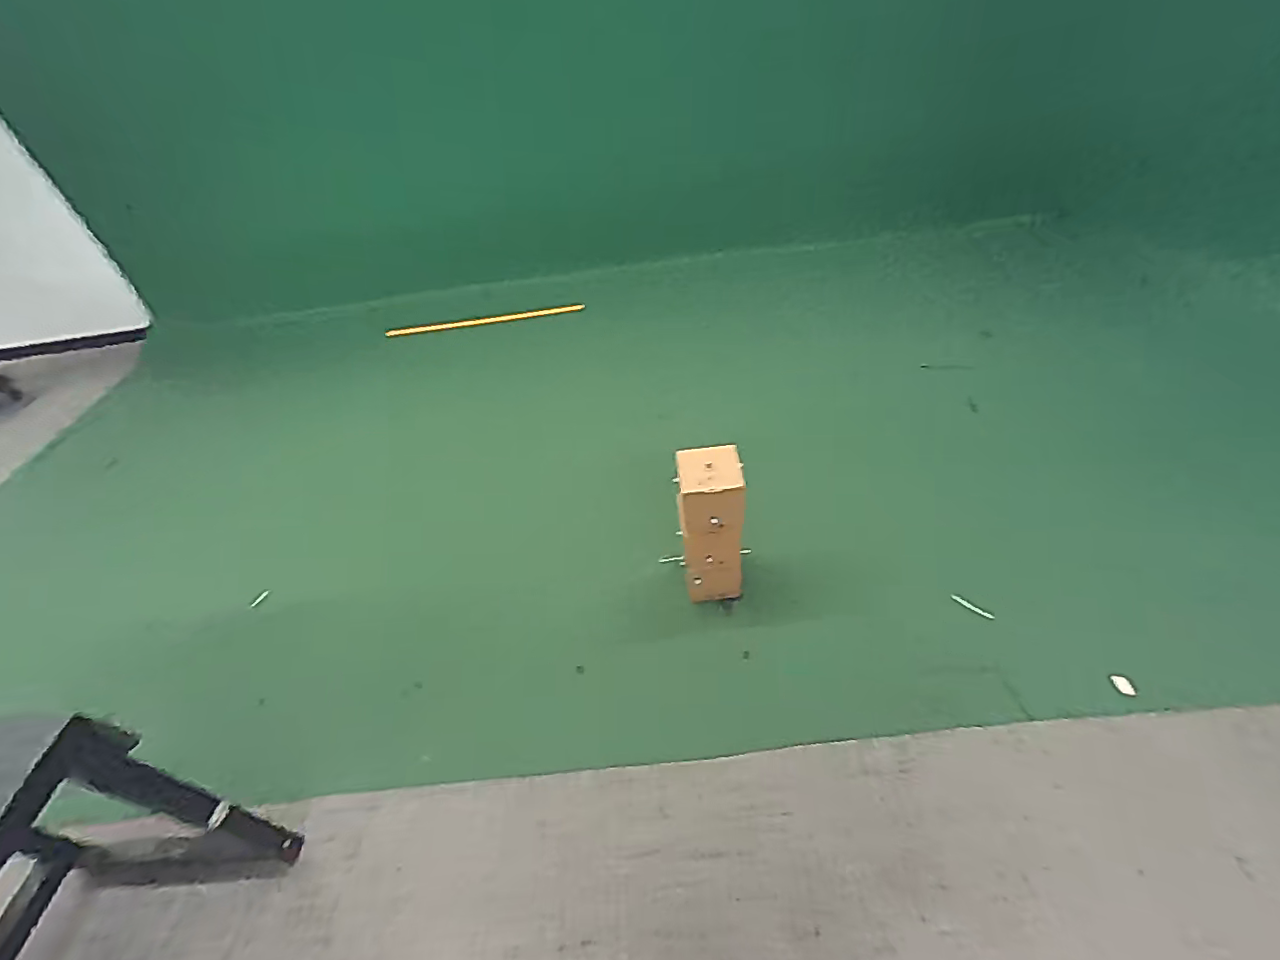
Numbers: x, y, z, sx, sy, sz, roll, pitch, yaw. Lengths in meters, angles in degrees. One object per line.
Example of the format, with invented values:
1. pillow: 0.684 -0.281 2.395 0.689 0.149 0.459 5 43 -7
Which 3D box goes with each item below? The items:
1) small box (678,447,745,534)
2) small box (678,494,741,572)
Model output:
1. small box: 0.196 0.030 1.524 0.168 0.176 0.179 -5 43 2
2. small box: 0.205 0.154 1.634 0.168 0.176 0.179 -6 43 1
